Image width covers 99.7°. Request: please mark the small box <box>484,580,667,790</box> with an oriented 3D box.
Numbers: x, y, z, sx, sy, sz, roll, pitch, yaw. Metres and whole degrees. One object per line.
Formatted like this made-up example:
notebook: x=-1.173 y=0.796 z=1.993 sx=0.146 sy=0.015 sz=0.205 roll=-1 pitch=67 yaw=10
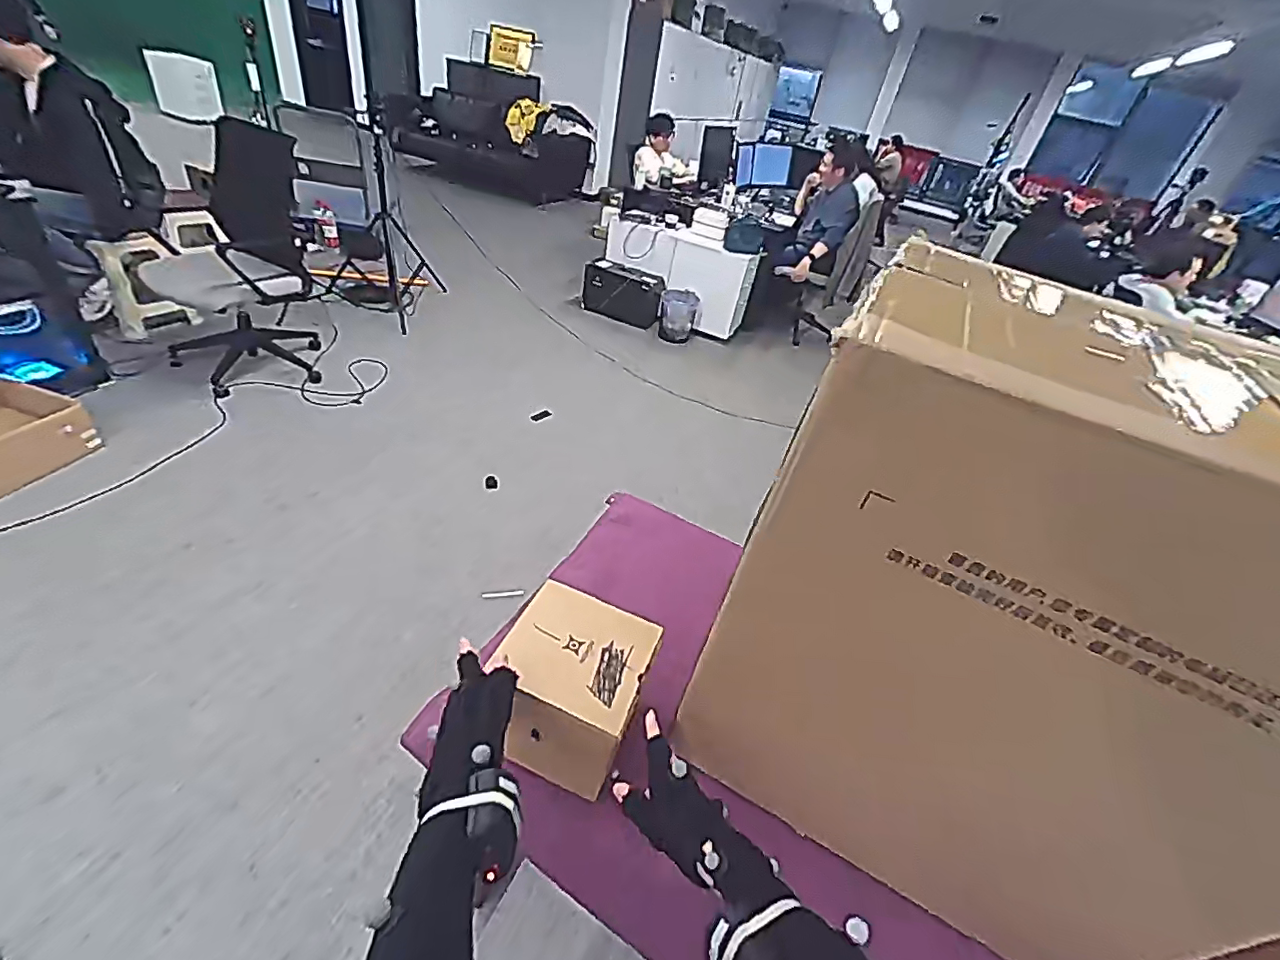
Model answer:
small box: x=-0.086 y=0.271 z=0.712 sx=0.179 sy=0.176 sz=0.168 roll=21 pitch=36 yaw=10
